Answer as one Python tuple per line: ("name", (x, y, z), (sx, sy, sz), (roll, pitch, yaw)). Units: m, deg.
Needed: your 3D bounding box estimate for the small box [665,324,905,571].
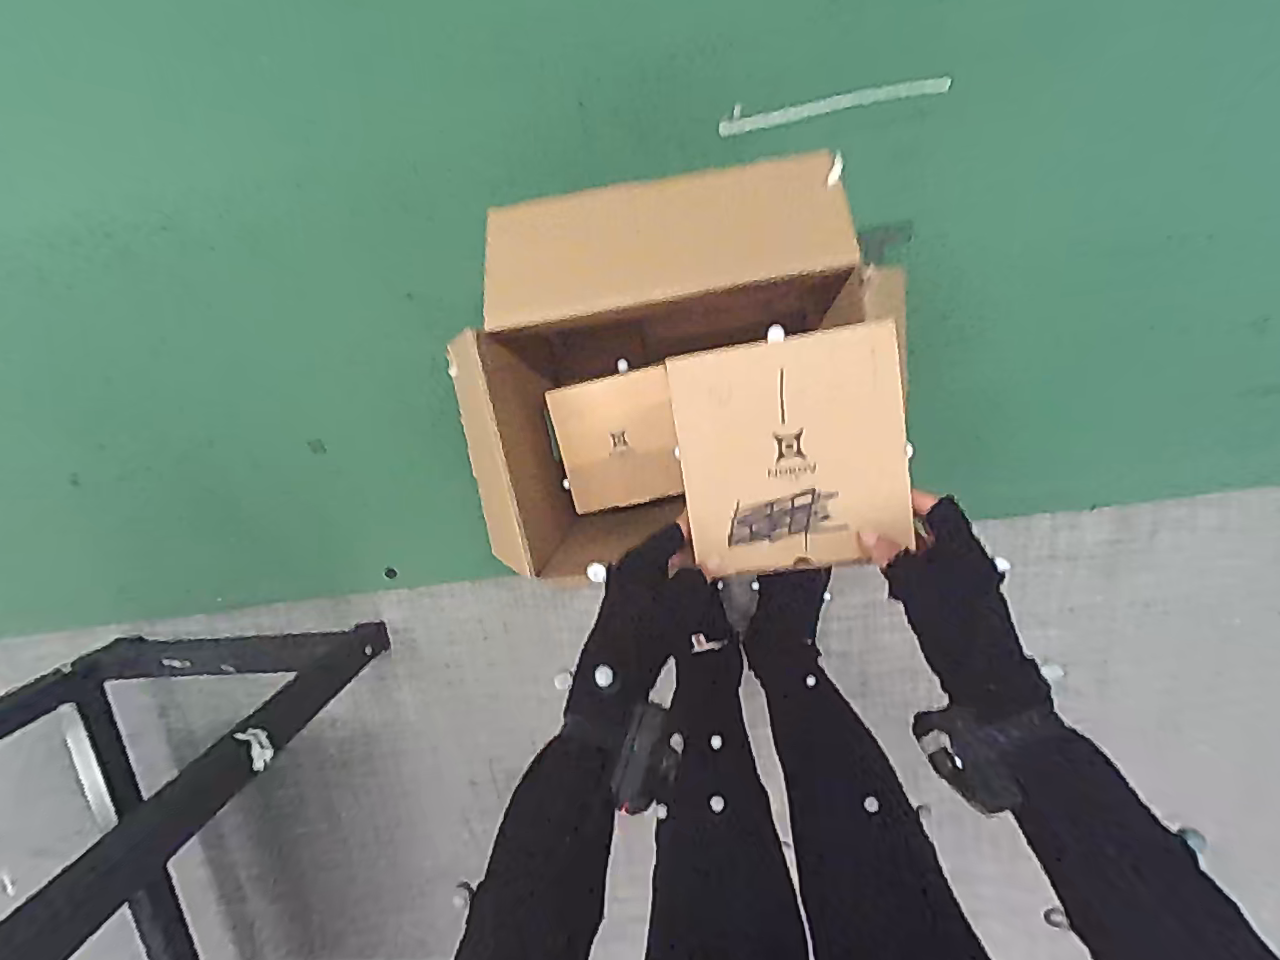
("small box", (0.126, -0.033, 0.488), (0.168, 0.176, 0.179), (-7, 98, 13))
